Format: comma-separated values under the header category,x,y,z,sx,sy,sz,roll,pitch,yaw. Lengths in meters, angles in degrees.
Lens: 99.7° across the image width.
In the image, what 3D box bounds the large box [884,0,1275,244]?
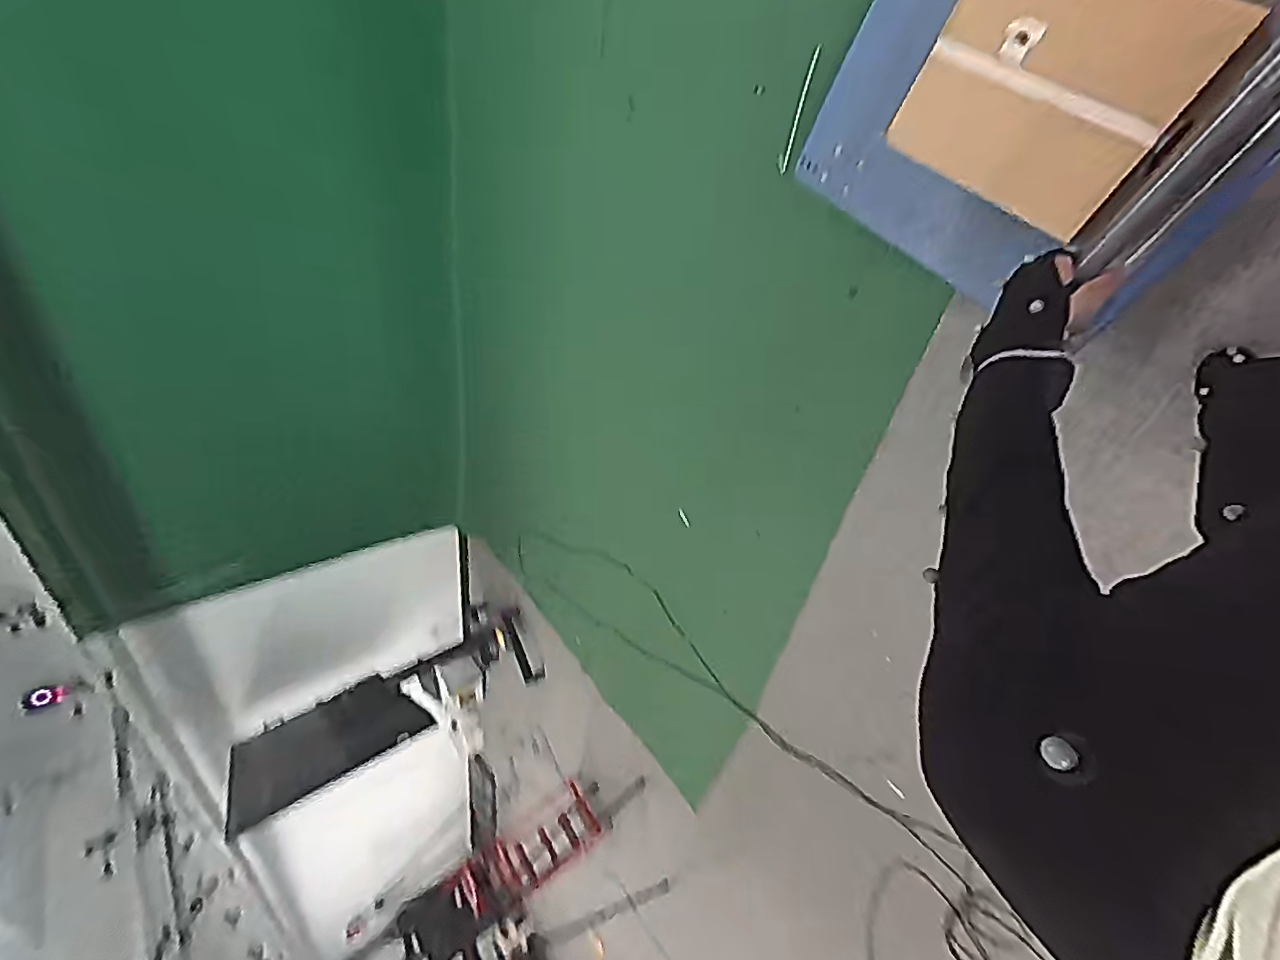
category,x,y,z,sx,sy,sz,roll,pitch,yaw
large box,0.753,-0.661,0.967,0.408,0.320,0.320,51,137,26
